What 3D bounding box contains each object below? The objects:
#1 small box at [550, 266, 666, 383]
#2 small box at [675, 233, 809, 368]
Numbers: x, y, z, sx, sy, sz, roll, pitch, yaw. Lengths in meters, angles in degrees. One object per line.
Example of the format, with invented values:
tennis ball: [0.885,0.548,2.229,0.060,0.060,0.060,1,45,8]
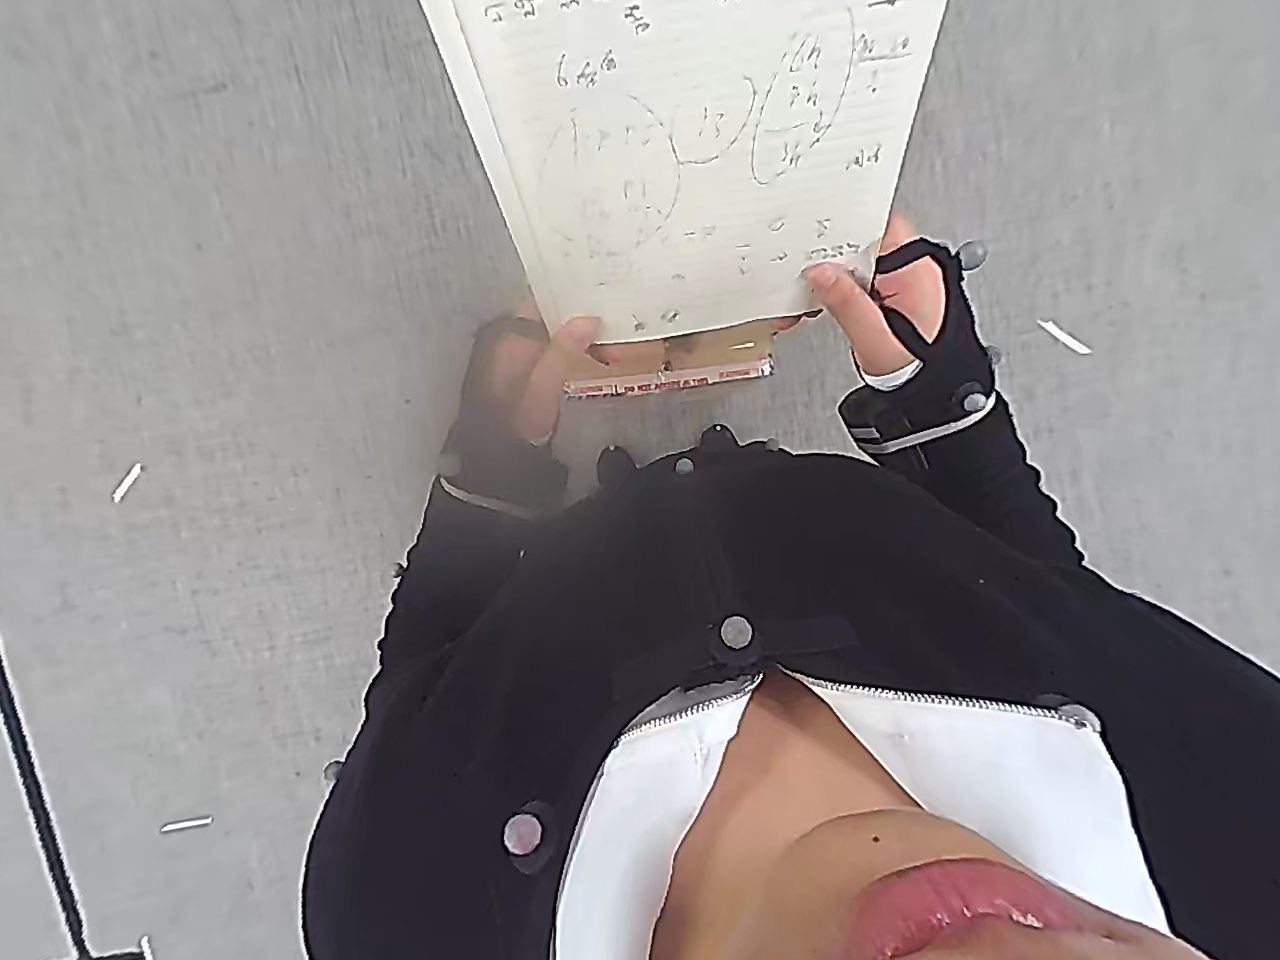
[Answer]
small box: [-0.048,-0.258,0.927,0.179,0.176,0.168,-3,96,3]
small box: [0.166,-0.296,0.922,0.179,0.176,0.168,-12,95,1]
